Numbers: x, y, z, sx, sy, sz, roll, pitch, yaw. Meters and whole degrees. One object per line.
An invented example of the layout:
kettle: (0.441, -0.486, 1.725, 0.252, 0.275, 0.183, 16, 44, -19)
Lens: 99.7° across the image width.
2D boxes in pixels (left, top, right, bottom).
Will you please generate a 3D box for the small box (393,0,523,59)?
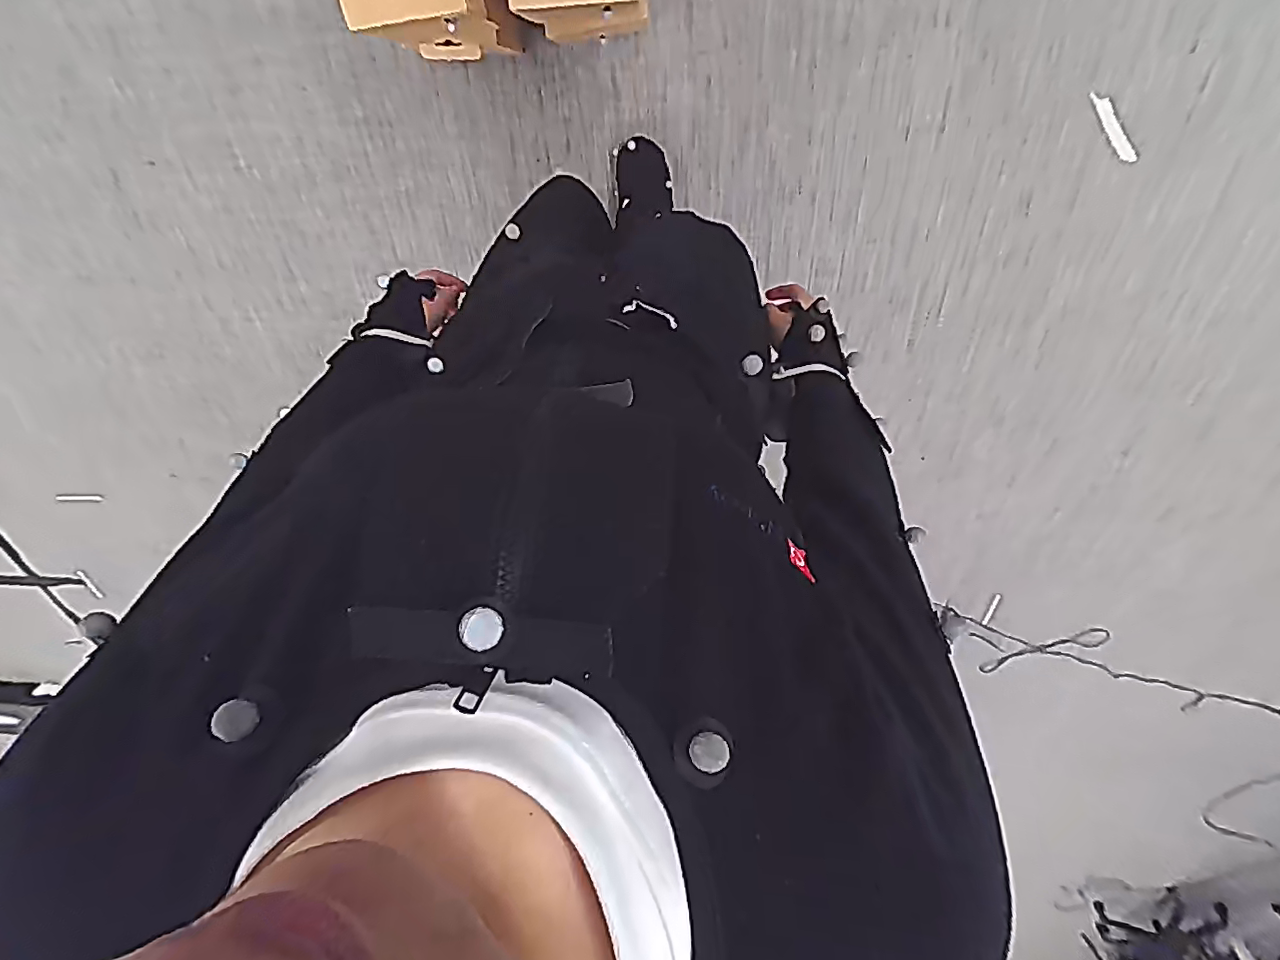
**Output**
small box: (-0.300, -0.812, 0.894, 0.168, 0.176, 0.179, 2, 124, 3)
